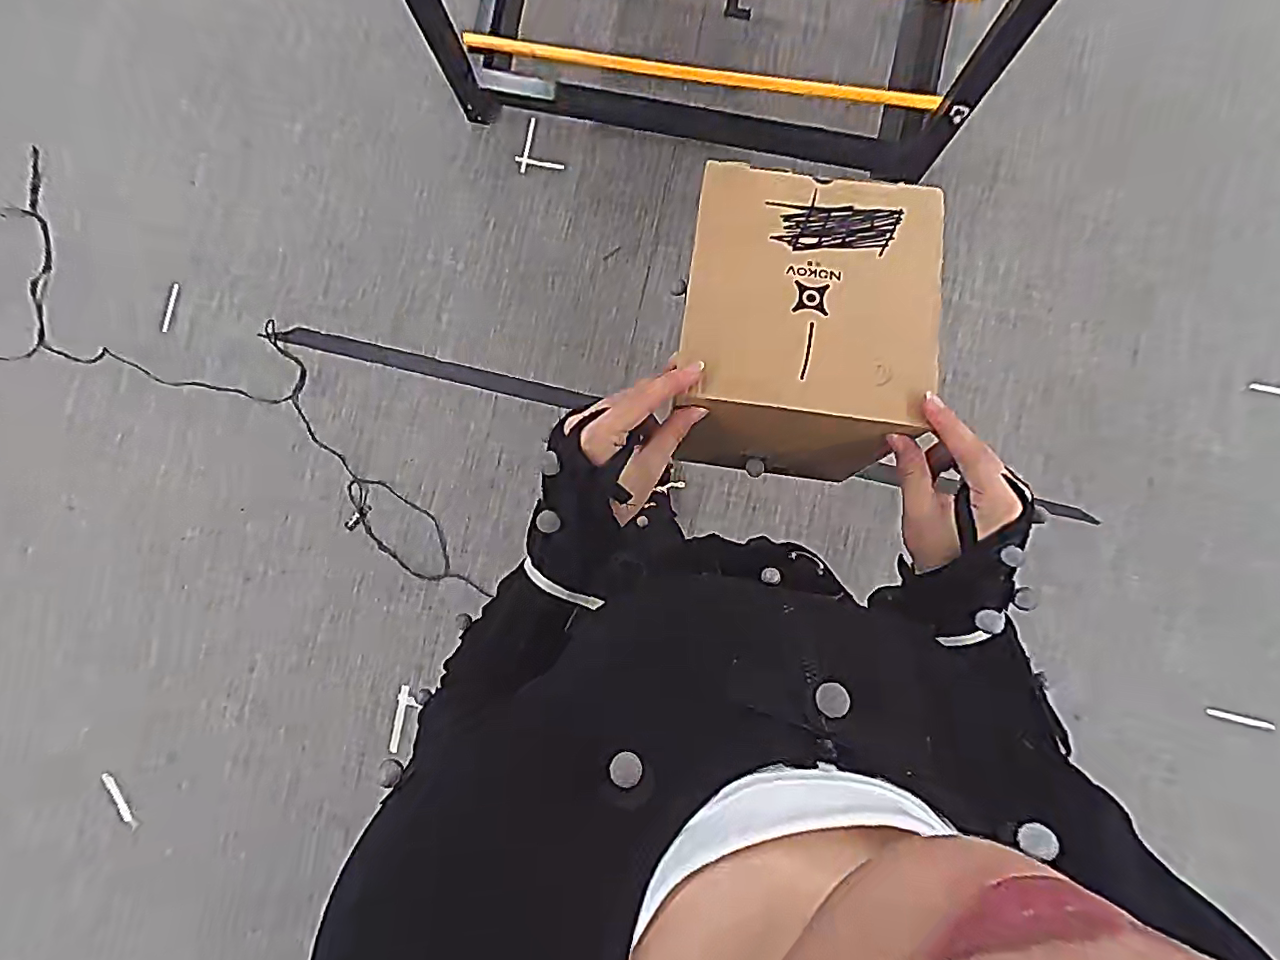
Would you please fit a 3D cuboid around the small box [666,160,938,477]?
[{"bbox_3d":[0.114,-0.114,0.439,0.168,0.176,0.179,8,78,2],"label":"small box"}]
